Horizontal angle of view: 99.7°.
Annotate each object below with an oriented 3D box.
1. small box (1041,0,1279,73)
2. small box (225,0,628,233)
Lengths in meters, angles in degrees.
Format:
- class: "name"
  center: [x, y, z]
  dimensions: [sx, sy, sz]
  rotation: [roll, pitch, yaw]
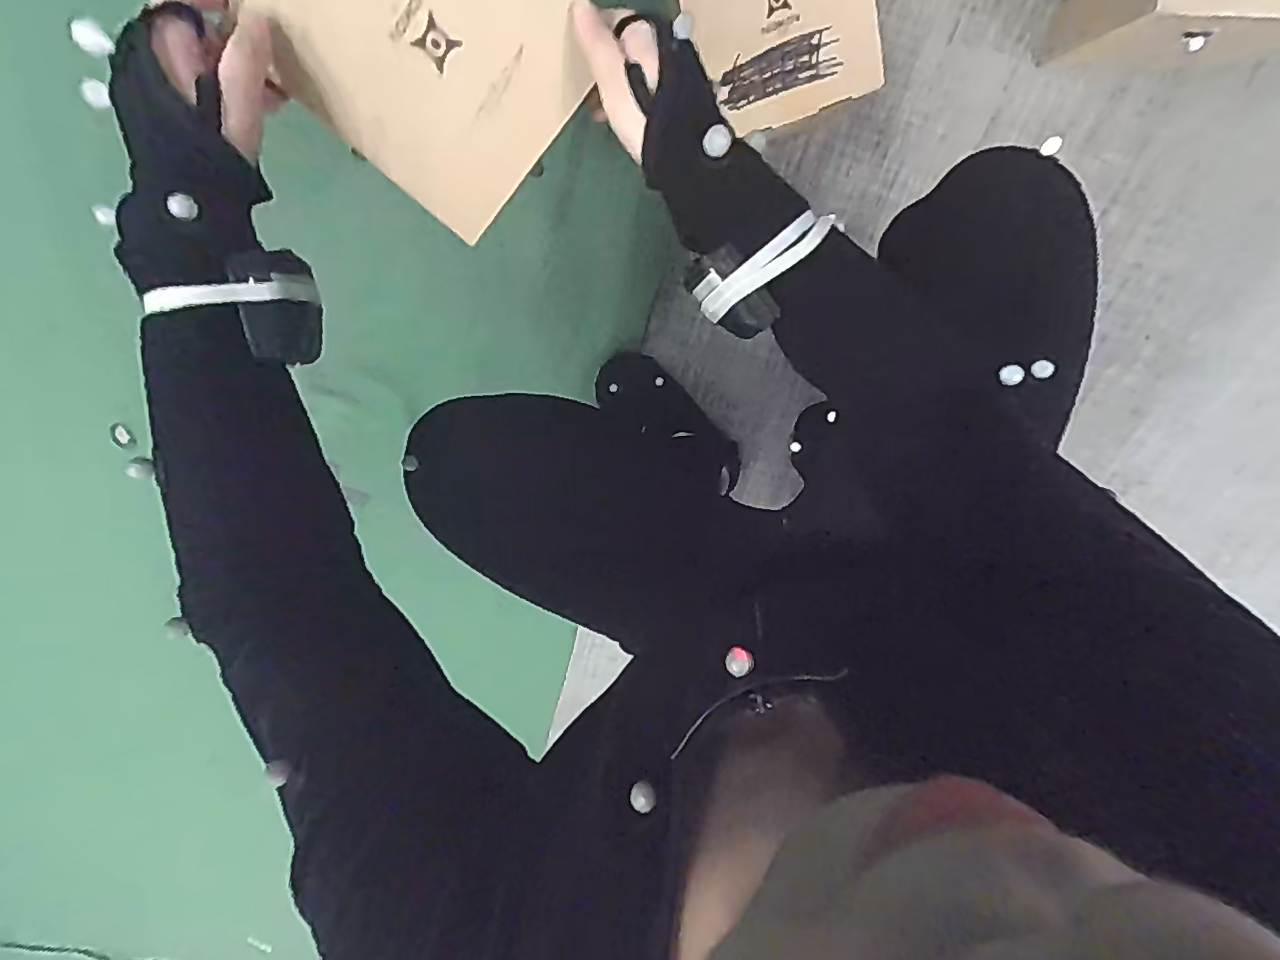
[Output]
- class: "small box"
  center: [0.527, -0.501, 0.502]
  dimensions: [0.179, 0.176, 0.168]
  rotation: [4, 114, 3]
- class: "small box"
  center: [-0.136, -0.317, 0.392]
  dimensions: [0.168, 0.176, 0.179]
  rotation: [-42, 122, 18]
